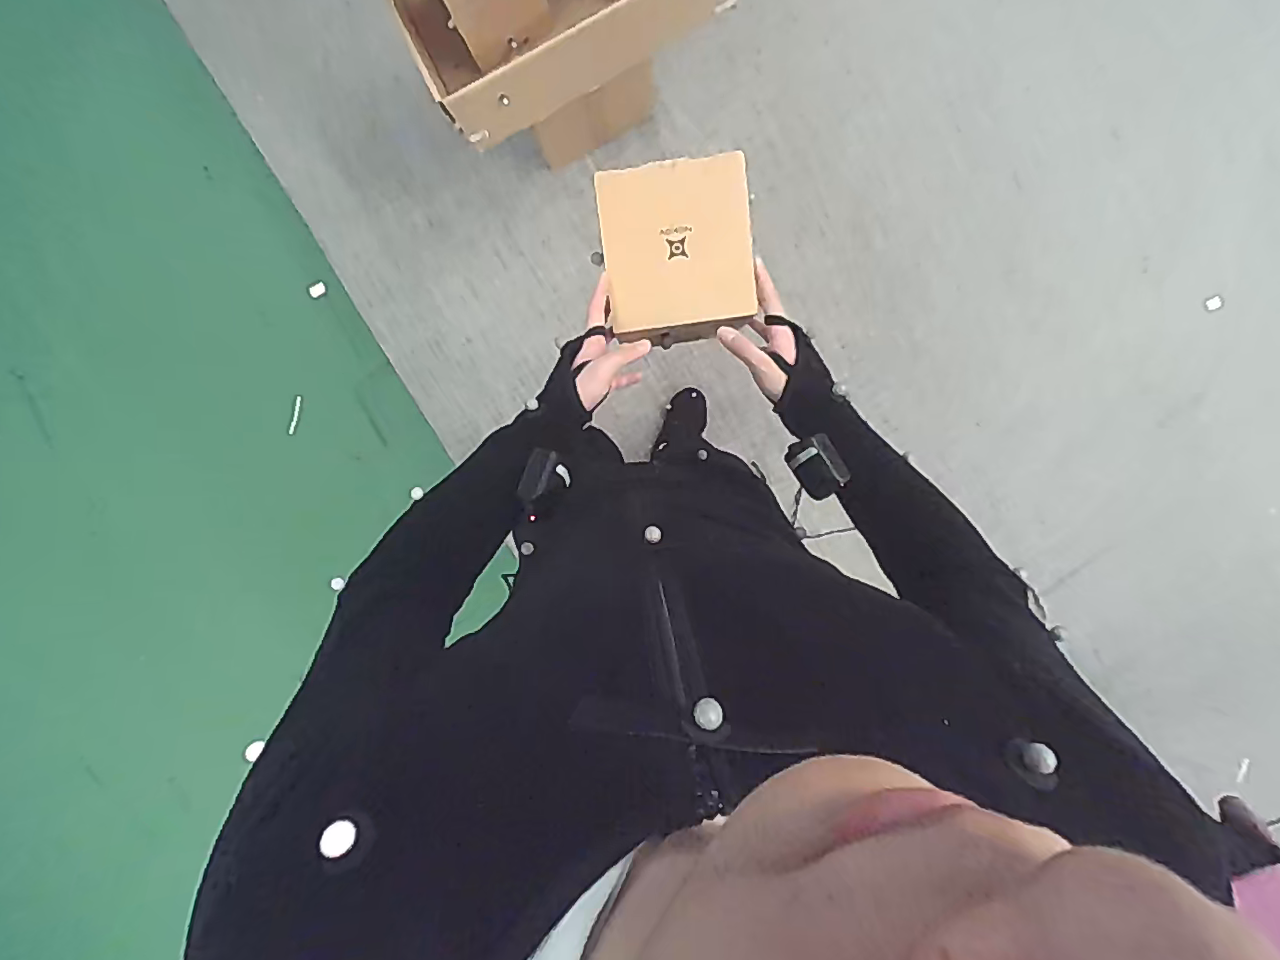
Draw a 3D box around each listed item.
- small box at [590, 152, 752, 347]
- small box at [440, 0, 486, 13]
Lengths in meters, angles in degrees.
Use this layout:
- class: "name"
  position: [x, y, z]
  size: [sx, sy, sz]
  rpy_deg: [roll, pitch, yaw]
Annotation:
- class: "small box"
  position: [0.040, -0.268, 0.675]
  size: [0.168, 0.176, 0.179]
  rpy_deg: [-7, 95, 3]
- class: "small box"
  position: [-0.281, -0.864, 0.814]
  size: [0.168, 0.176, 0.179]
  rpy_deg: [-26, 99, 5]
